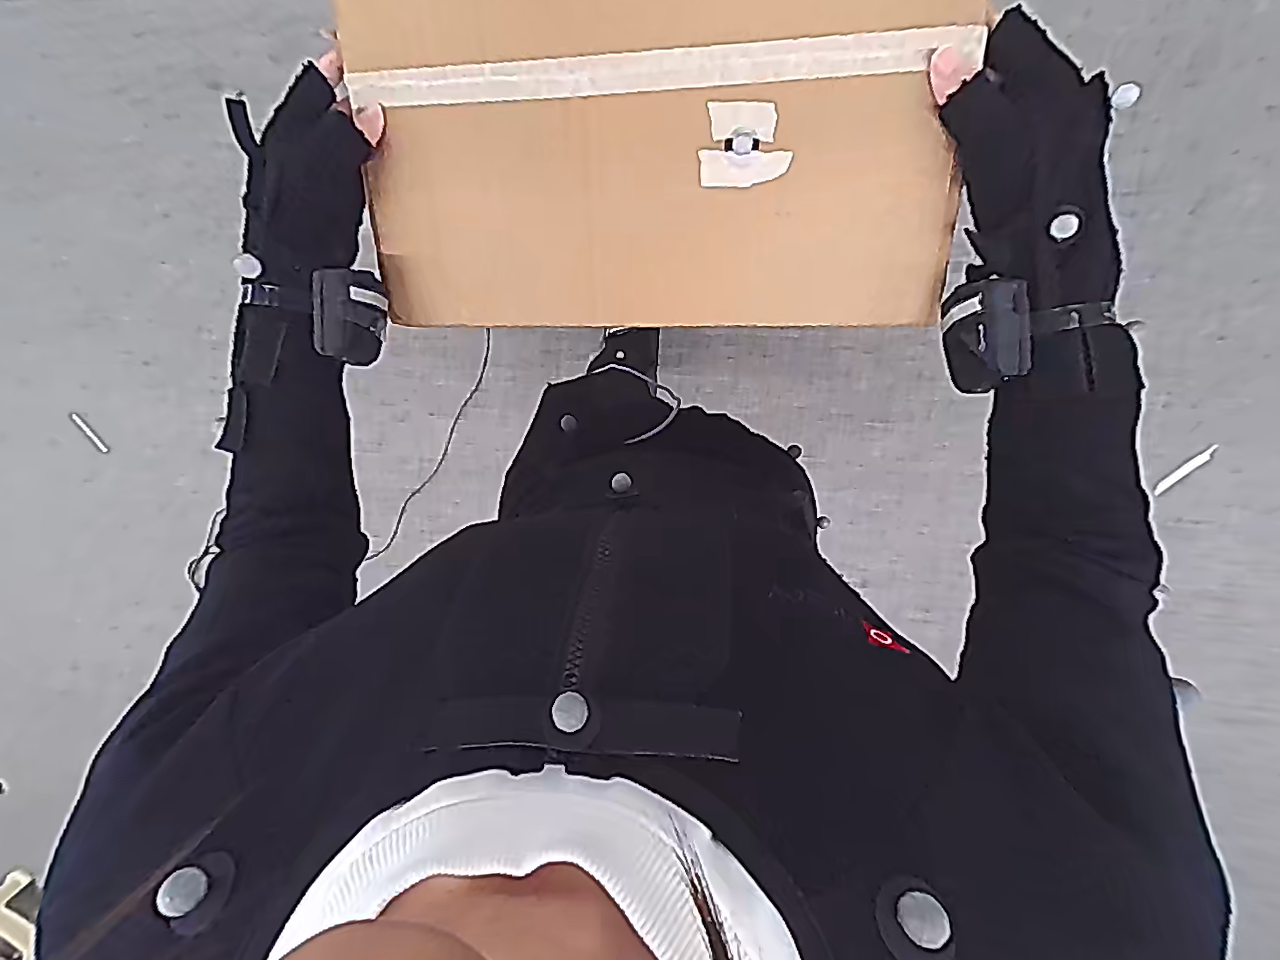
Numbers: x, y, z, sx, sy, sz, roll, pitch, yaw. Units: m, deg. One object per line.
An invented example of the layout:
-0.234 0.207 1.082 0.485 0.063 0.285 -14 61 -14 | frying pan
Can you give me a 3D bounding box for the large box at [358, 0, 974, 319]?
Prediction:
0.024 -0.324 0.495 0.408 0.320 0.320 2 111 8 | large box
